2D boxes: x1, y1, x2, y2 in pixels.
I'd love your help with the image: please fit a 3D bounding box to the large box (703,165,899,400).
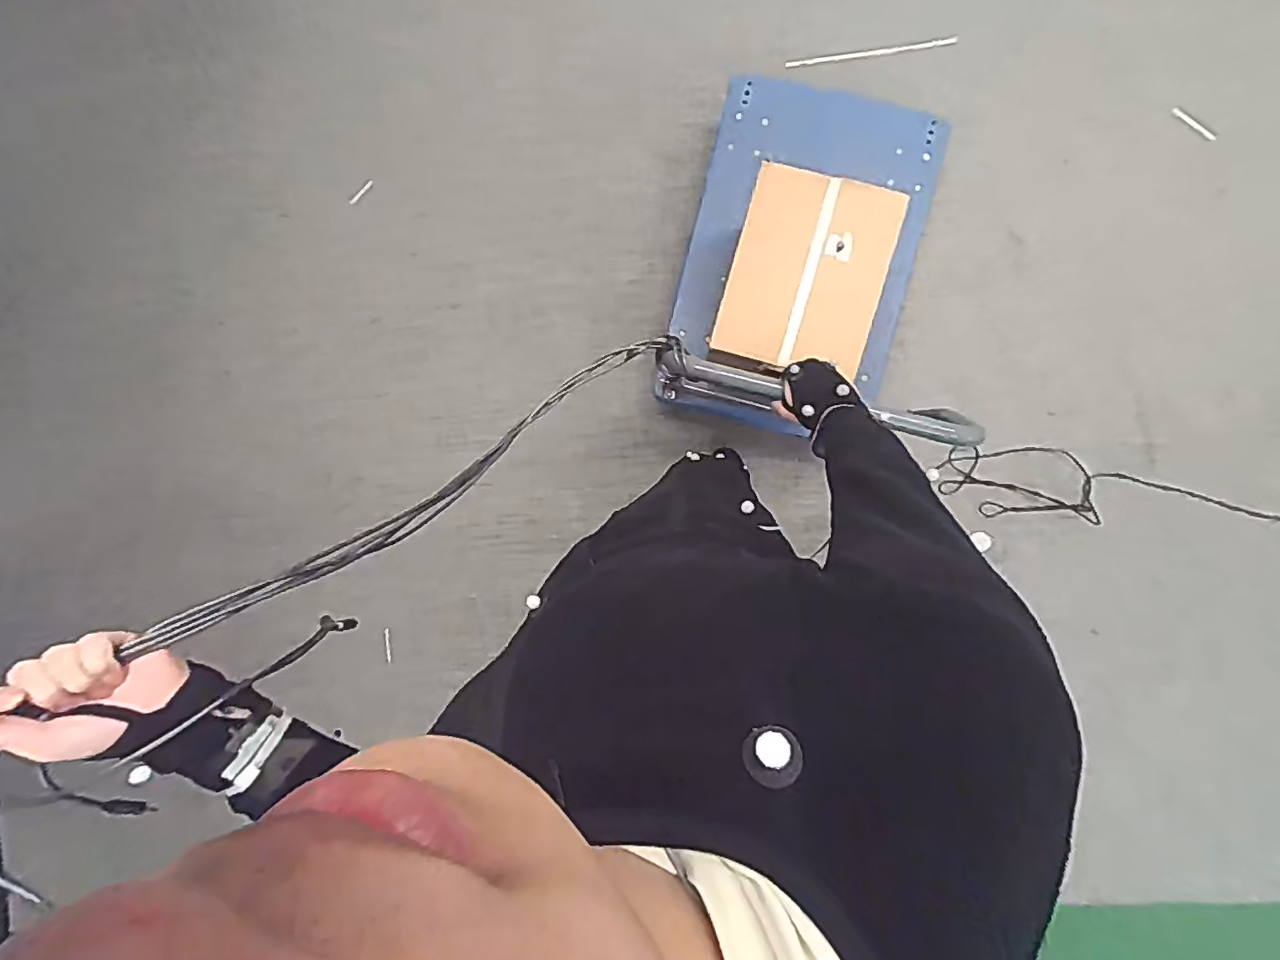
[{"bbox_3d":[0.351,-0.436,1.283,0.320,0.320,0.408,16,92,2],"label":"large box"}]
